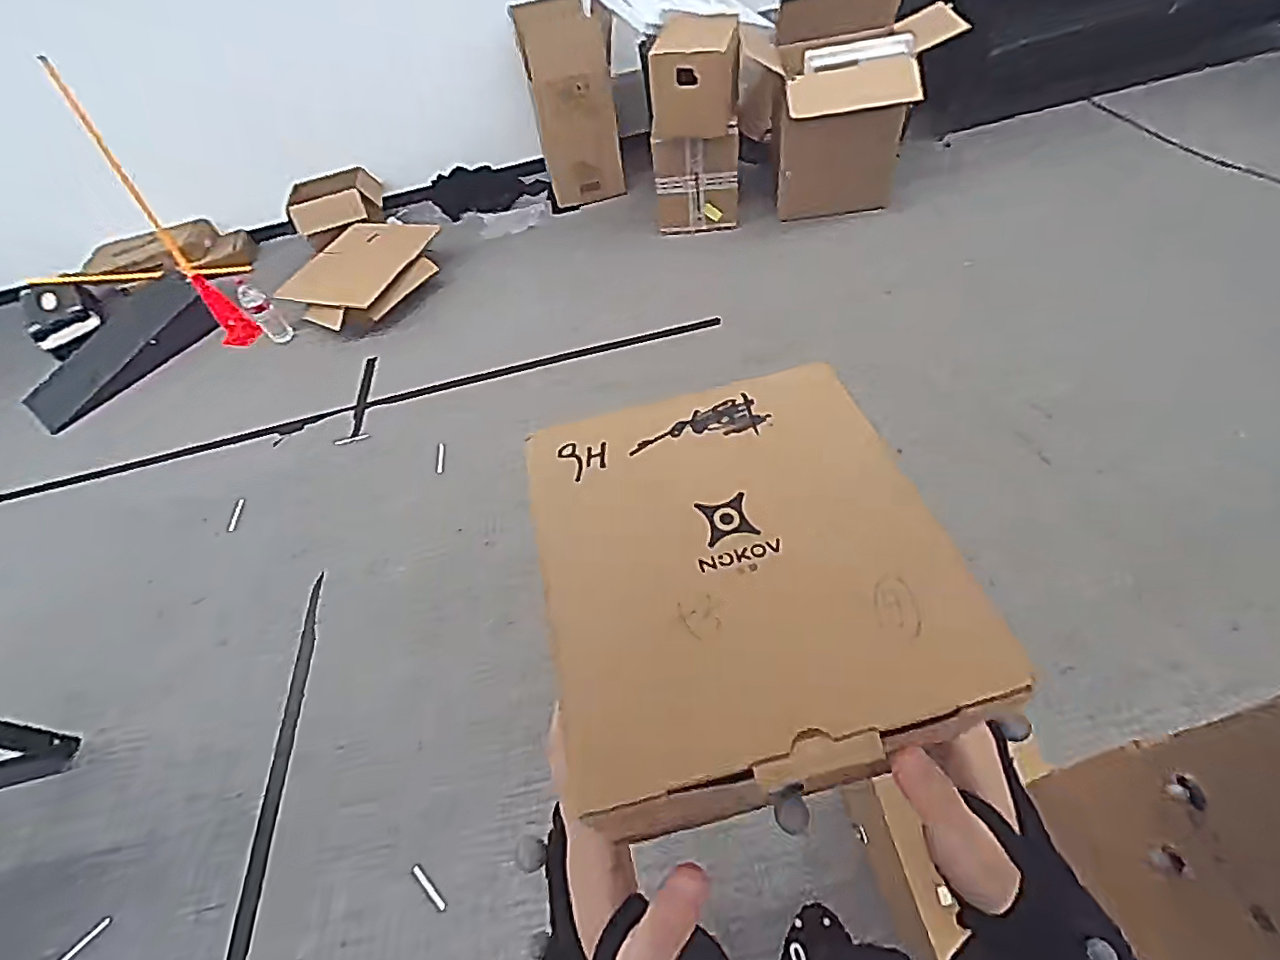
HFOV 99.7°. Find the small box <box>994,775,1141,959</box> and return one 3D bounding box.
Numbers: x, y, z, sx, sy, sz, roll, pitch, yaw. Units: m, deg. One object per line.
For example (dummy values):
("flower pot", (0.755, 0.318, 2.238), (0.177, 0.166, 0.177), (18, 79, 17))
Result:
("small box", (0.519, 0.409, 0.566), (0.168, 0.176, 0.179), (-11, 52, 3))

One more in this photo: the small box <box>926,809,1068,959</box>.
("small box", (0.569, 0.609, 0.822), (0.168, 0.176, 0.179), (-15, 52, 1))

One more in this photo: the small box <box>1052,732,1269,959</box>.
("small box", (0.494, 0.311, 0.440), (0.168, 0.176, 0.179), (-11, 51, 4))

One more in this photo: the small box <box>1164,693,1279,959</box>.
("small box", (0.469, 0.214, 0.309), (0.179, 0.176, 0.168), (-11, 51, 3))

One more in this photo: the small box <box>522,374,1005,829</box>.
("small box", (0.044, 0.075, 0.301), (0.168, 0.176, 0.179), (-14, 54, -3))
